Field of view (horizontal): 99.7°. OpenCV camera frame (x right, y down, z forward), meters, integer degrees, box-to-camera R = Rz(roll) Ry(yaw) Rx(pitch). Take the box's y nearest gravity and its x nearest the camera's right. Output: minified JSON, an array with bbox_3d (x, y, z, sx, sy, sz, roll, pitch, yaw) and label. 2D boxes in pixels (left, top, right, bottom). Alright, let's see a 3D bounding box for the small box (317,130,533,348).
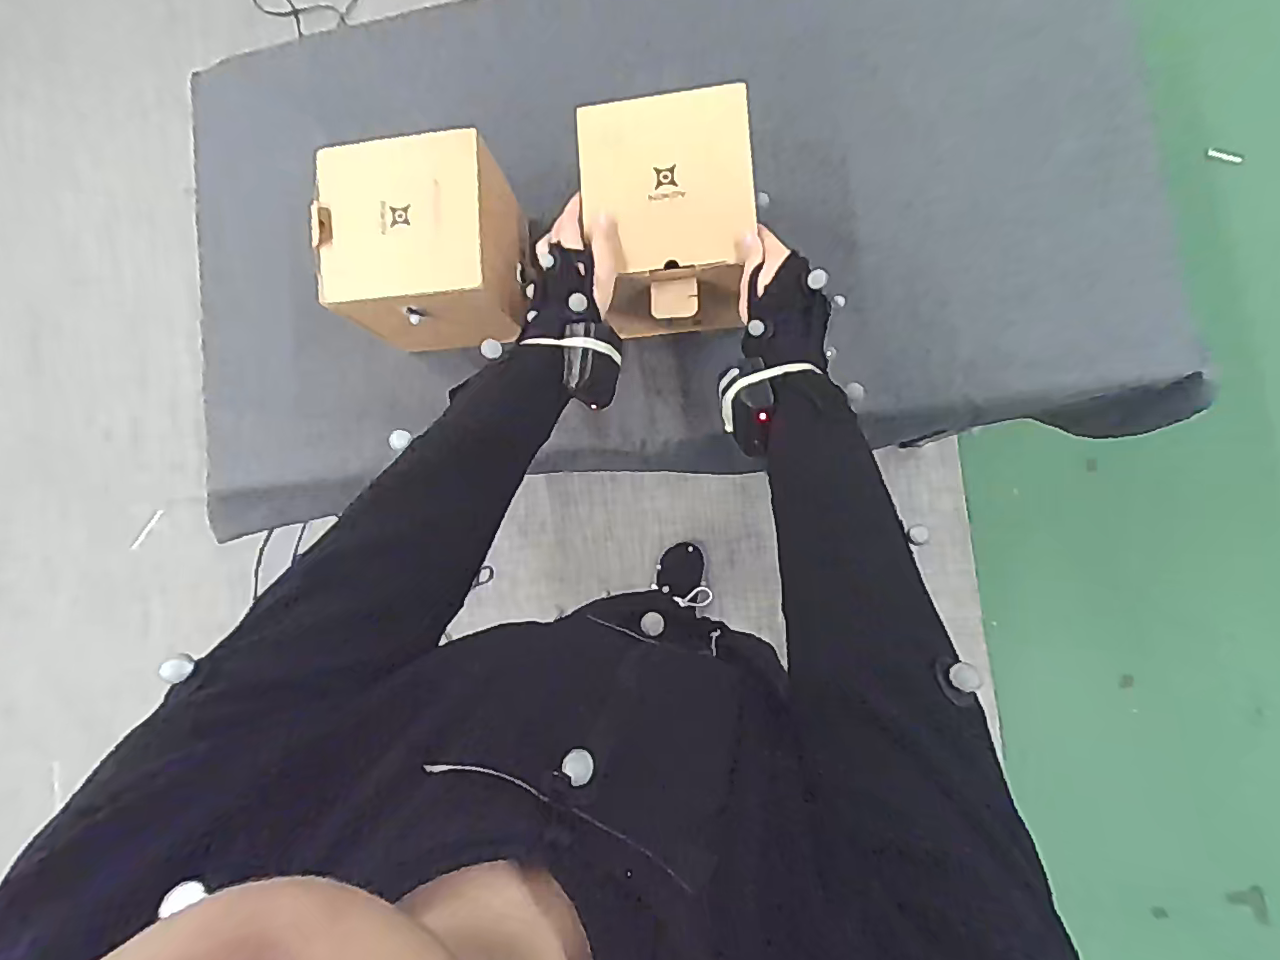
[{"bbox_3d":[-0.233,-0.258,0.620,0.179,0.176,0.168,-3,86,6],"label":"small box"}]
